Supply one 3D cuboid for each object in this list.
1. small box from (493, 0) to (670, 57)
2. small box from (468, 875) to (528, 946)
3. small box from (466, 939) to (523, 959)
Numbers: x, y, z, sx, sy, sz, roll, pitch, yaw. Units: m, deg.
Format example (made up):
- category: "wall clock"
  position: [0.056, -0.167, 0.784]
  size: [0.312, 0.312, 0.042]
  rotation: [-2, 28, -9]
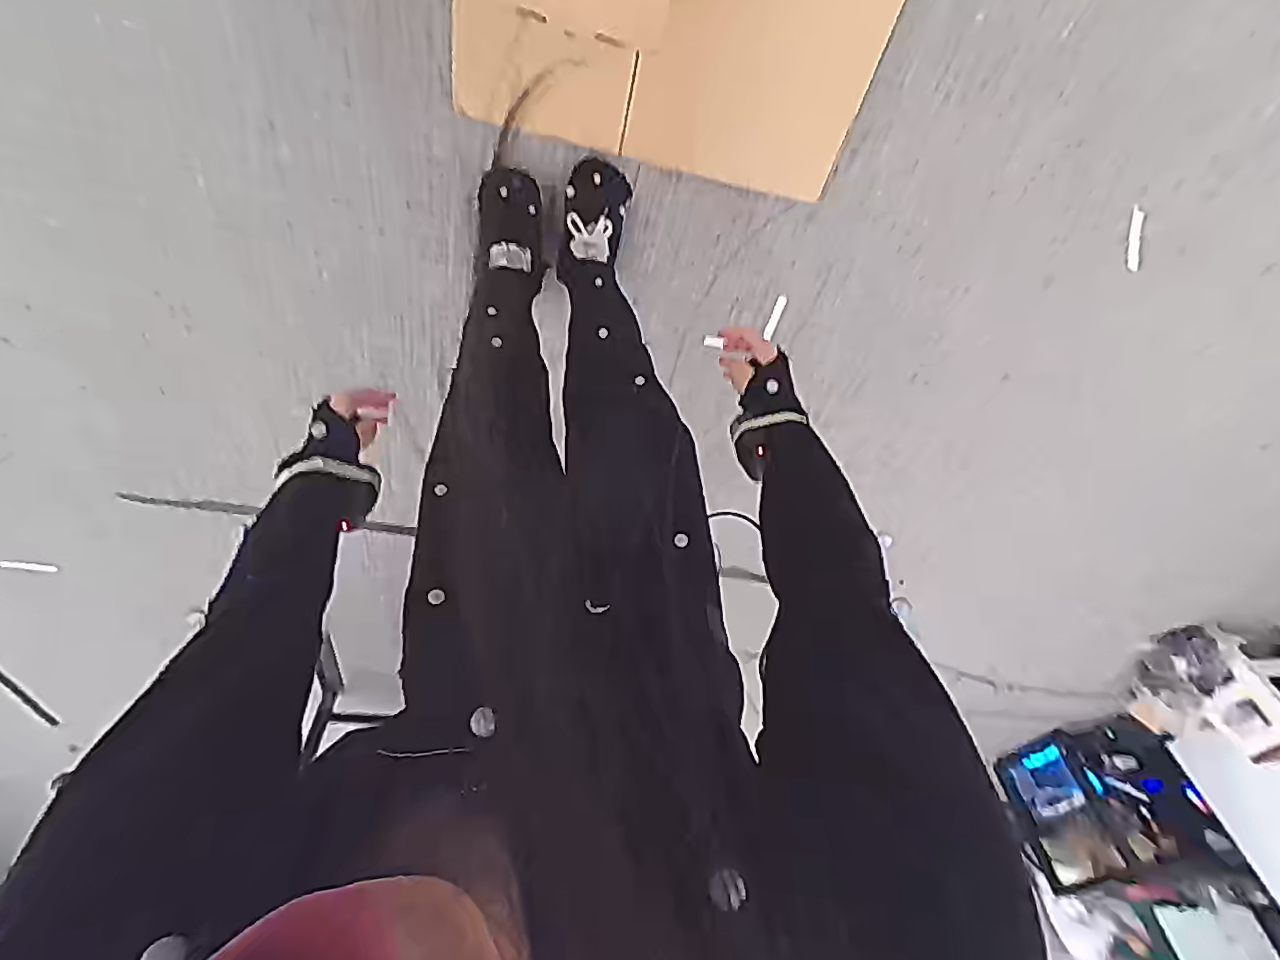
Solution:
- category: "small box"
  position: [-0.046, -0.526, 0.490]
  size: [0.168, 0.176, 0.179]
  rotation: [9, 134, -13]
- category: "small box"
  position: [-0.472, 1.435, 1.804]
  size: [0.168, 0.176, 0.179]
  rotation: [10, 133, -14]
- category: "small box"
  position: [-0.464, 1.554, 1.691]
  size: [0.168, 0.176, 0.179]
  rotation: [9, 134, -13]
